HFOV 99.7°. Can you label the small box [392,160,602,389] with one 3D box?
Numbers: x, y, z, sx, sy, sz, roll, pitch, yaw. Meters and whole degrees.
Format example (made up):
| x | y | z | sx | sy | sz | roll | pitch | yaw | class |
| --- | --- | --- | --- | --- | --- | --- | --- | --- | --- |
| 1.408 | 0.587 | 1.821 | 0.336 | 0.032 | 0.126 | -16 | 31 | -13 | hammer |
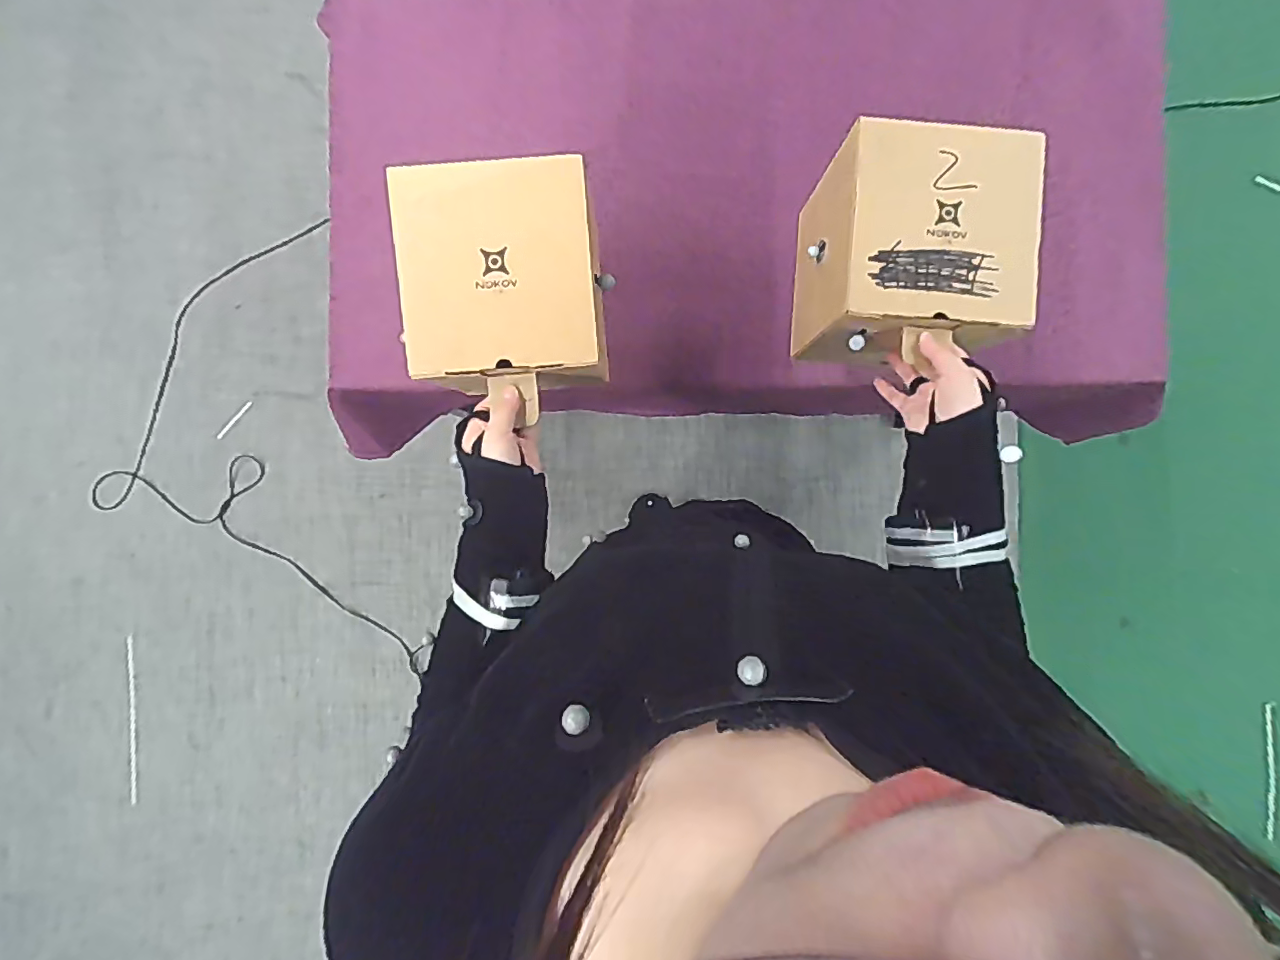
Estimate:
| x | y | z | sx | sy | sz | roll | pitch | yaw | class |
| --- | --- | --- | --- | --- | --- | --- | --- | --- | --- |
| -0.129 | -0.192 | 0.552 | 0.168 | 0.176 | 0.179 | -4 | 96 | -1 | small box |
